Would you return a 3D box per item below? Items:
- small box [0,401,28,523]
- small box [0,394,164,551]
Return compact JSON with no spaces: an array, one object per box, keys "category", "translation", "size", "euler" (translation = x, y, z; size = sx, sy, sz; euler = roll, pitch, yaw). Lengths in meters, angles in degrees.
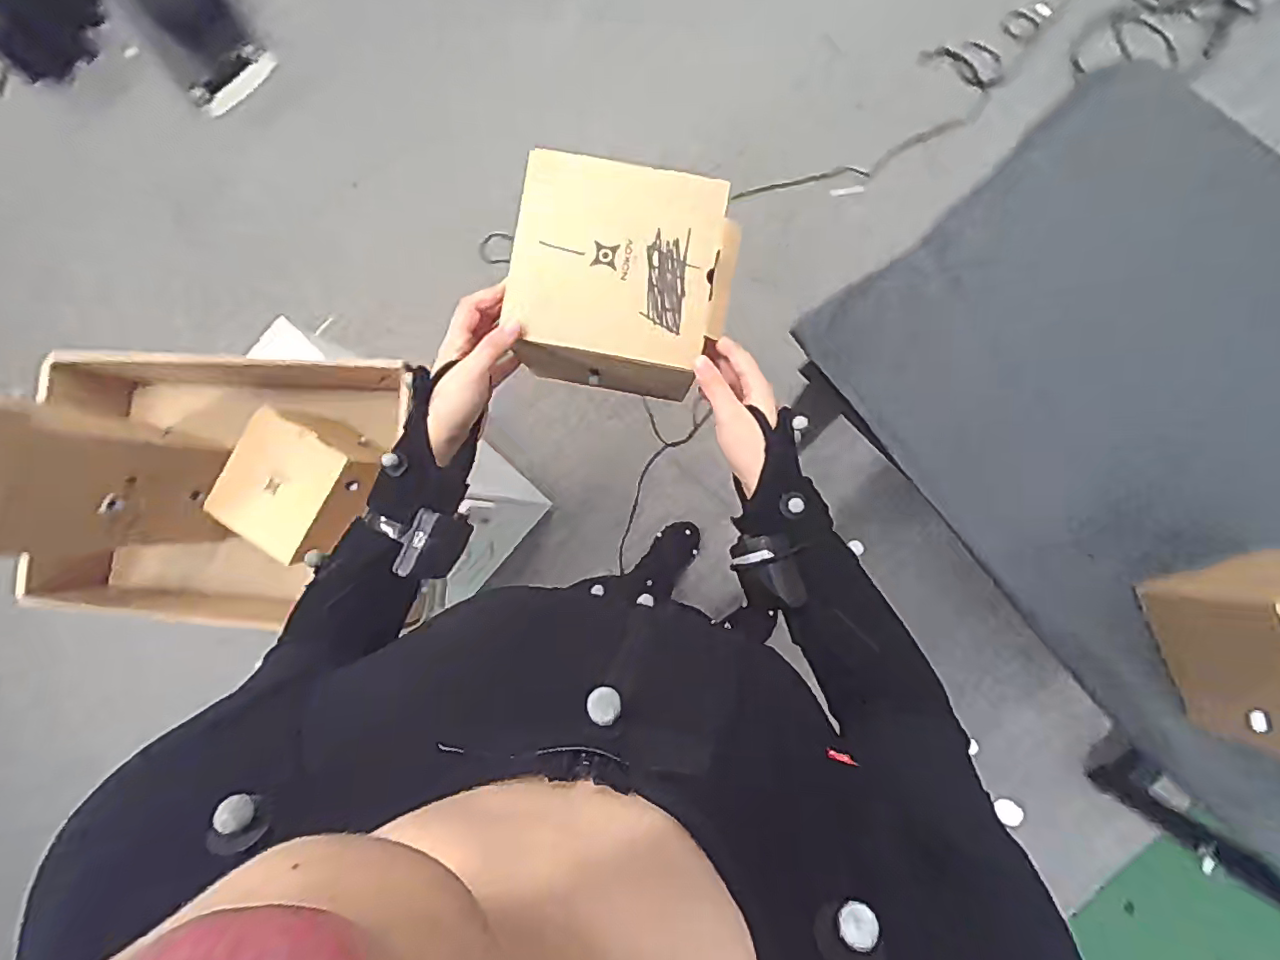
[{"category":"small box","translation":[-0.809,-0.026,0.556],"size":[0.168,0.176,0.179],"euler":[15,90,7]},{"category":"small box","translation":[-0.808,-0.012,0.721],"size":[0.179,0.176,0.168],"euler":[19,90,6]}]
